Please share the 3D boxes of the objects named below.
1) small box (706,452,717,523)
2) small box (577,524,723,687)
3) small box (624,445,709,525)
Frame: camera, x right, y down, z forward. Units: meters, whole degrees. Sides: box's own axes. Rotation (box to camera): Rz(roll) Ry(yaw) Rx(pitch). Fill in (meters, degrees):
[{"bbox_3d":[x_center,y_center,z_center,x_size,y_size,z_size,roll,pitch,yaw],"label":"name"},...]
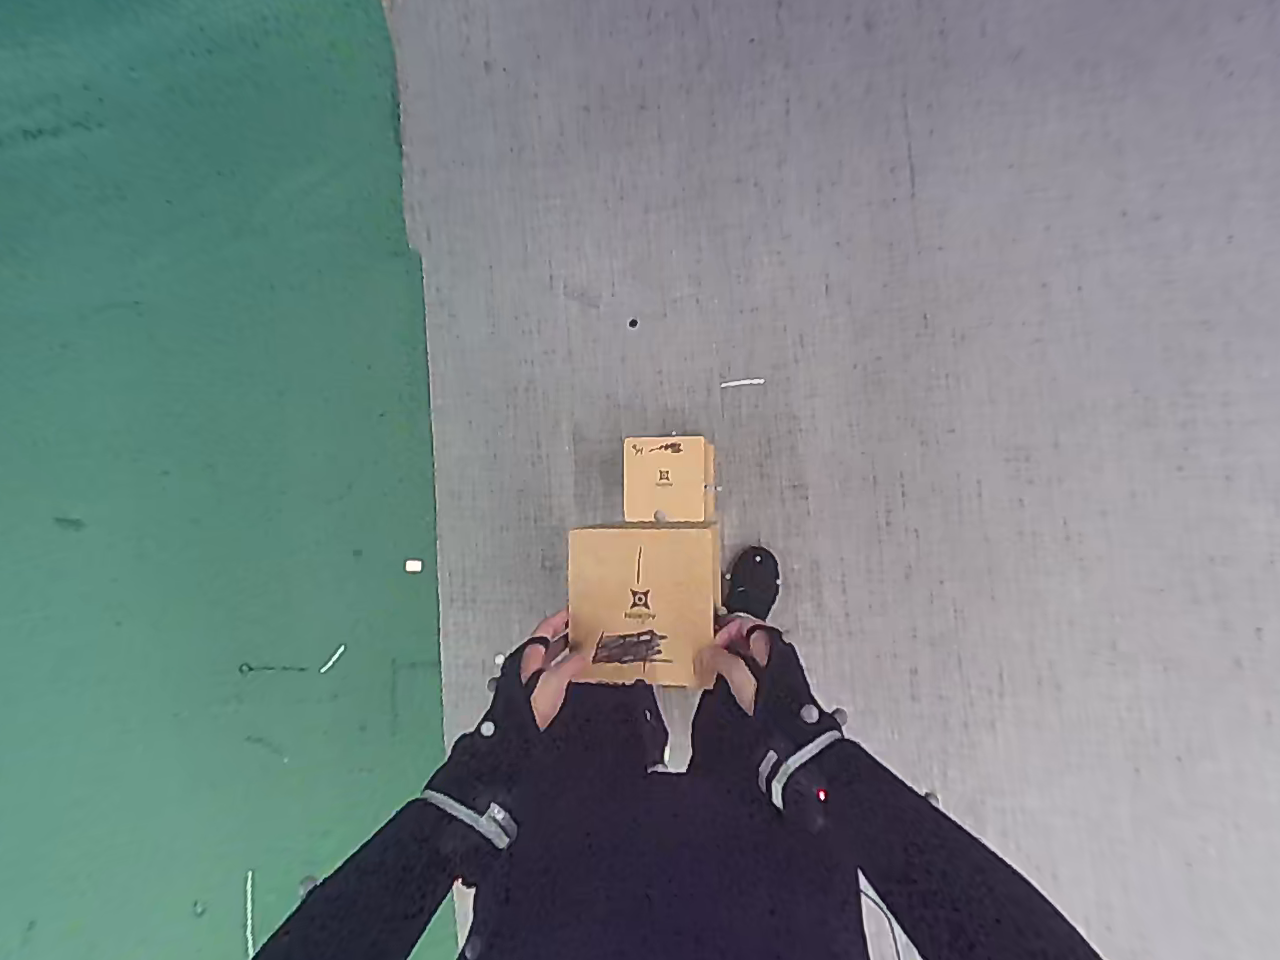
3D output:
[{"bbox_3d":[0.097,0.019,1.330,0.179,0.176,0.168,1,88,10],"label":"small box"},{"bbox_3d":[0.021,0.149,0.701,0.168,0.176,0.179,-1,87,10],"label":"small box"},{"bbox_3d":[0.064,0.016,1.170,0.168,0.176,0.179,0,89,10],"label":"small box"}]
